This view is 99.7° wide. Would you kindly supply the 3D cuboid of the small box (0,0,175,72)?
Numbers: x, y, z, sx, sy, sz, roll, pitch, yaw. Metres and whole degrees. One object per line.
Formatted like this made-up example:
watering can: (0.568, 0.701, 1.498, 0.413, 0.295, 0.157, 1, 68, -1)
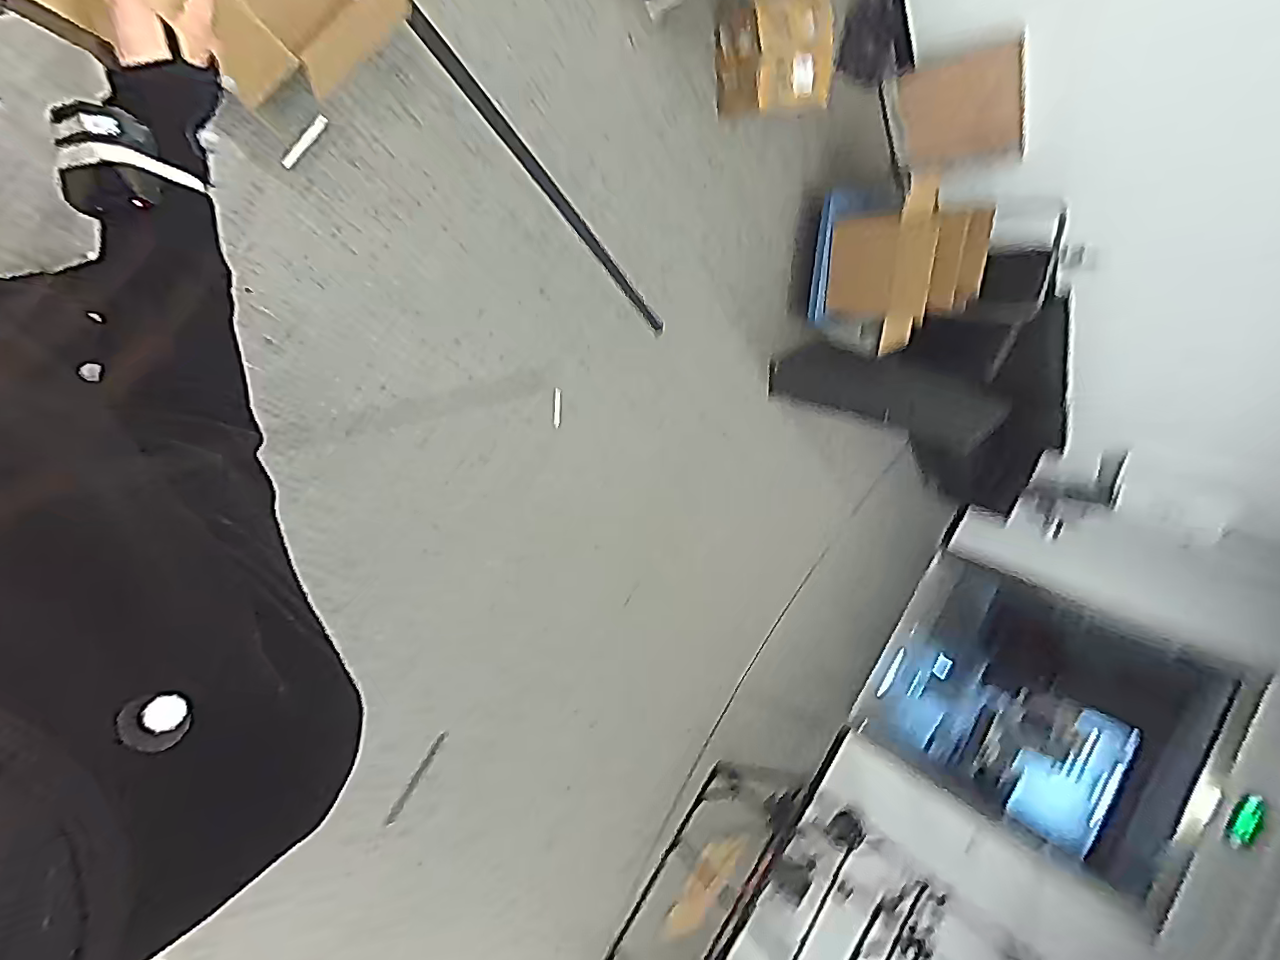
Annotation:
small box: (-0.476, -0.462, 0.421, 0.168, 0.176, 0.179, 11, 106, -55)
